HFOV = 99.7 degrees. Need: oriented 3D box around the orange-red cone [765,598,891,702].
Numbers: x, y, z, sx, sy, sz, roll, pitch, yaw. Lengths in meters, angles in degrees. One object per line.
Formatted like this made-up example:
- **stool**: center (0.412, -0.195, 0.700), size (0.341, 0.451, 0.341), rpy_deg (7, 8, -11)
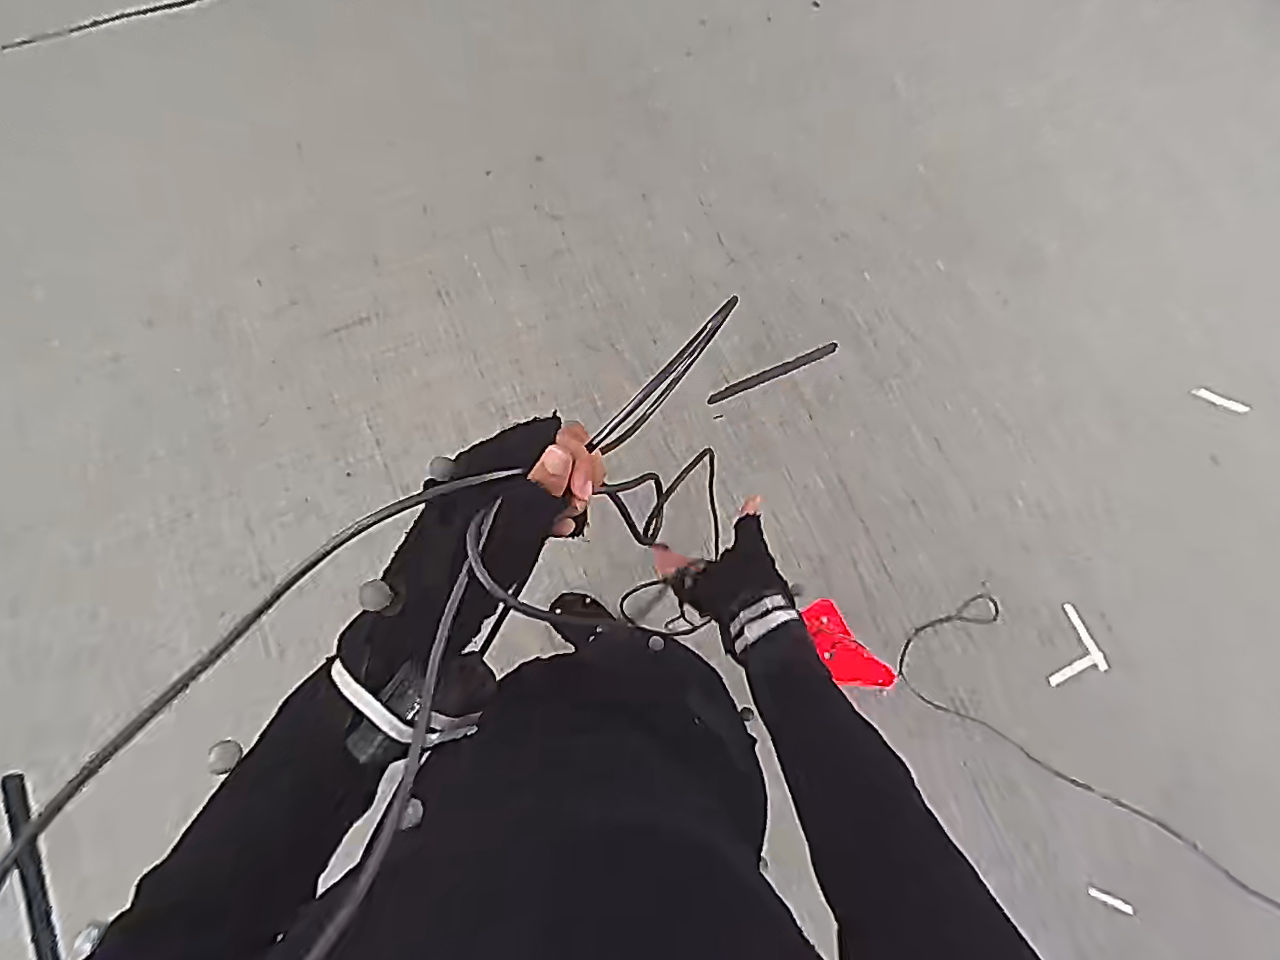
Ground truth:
- **orange-red cone**: center (0.426, 0.377, 1.133), size (0.199, 0.360, 0.198), rpy_deg (-27, 81, -5)
